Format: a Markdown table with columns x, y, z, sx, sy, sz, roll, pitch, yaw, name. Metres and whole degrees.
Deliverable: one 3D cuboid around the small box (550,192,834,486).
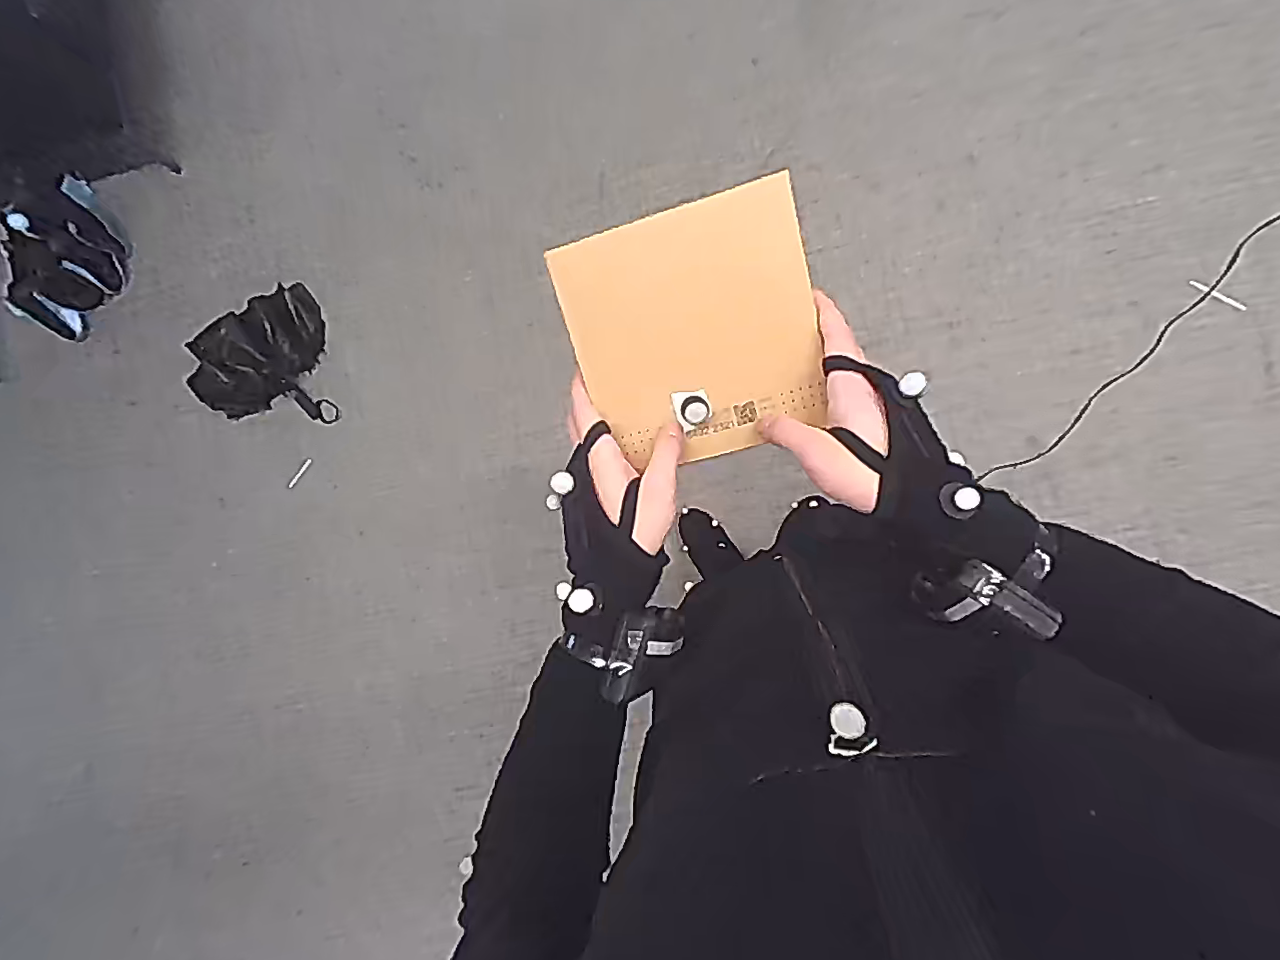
| x | y | z | sx | sy | sz | roll | pitch | yaw | name |
| --- | --- | --- | --- | --- | --- | --- | --- | --- | --- |
| 0.046 | -0.107 | 0.454 | 0.168 | 0.179 | 0.176 | -16 | 103 | 9 | small box |
